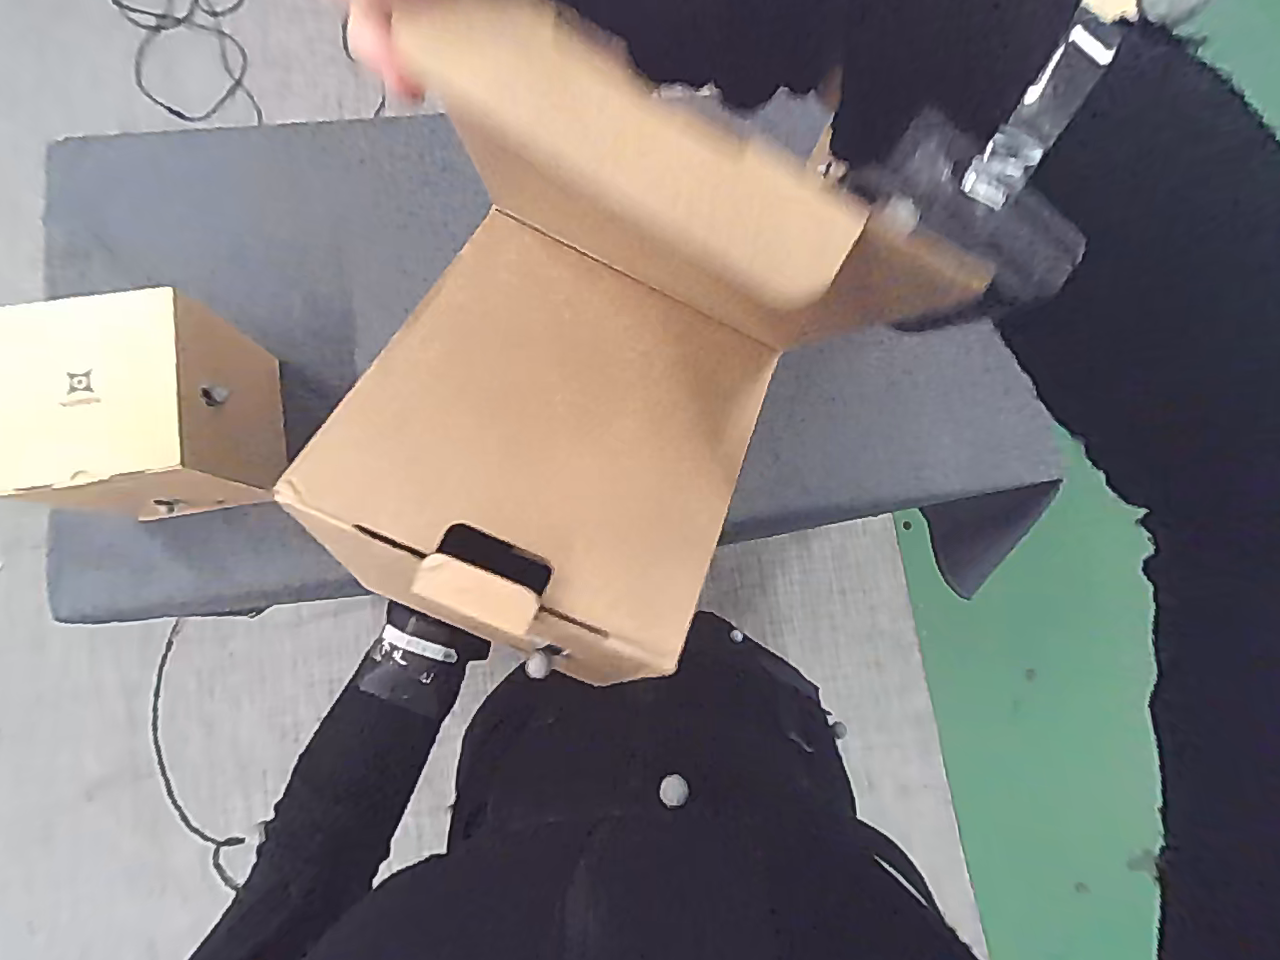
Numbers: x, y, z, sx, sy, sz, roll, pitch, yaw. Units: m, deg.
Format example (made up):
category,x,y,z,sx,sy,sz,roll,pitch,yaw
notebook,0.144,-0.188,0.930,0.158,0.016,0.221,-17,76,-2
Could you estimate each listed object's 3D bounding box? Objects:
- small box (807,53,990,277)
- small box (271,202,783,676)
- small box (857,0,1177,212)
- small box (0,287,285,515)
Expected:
category,x,y,z,sx,sy,sz,roll,pitch,yaw
small box,0.315,-0.369,0.662,0.179,0.176,0.168,4,80,-3
small box,-0.050,-0.003,0.307,0.168,0.176,0.179,27,64,-4
small box,0.317,-0.379,0.497,0.168,0.176,0.179,-2,81,-3
small box,-0.497,-0.069,0.557,0.168,0.176,0.179,-10,81,-6
